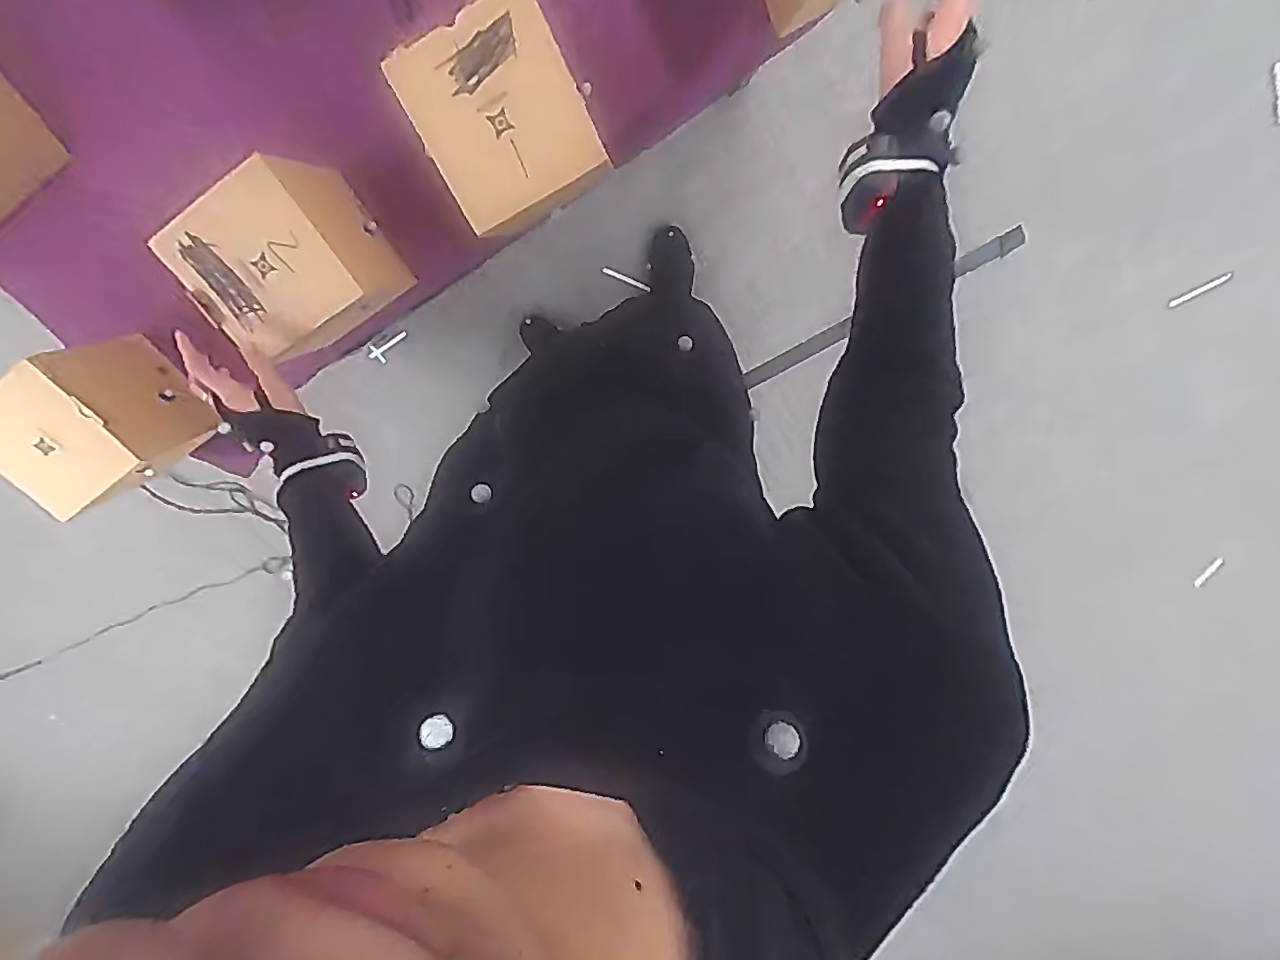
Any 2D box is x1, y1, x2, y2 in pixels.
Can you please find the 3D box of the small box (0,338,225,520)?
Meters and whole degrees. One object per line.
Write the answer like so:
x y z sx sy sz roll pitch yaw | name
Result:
-0.762 -0.079 0.776 0.179 0.176 0.168 -31 111 13 | small box

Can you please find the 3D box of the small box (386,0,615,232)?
-0.140 -0.404 0.618 0.168 0.176 0.179 -25 113 12 | small box

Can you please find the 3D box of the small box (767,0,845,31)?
0.199 -0.596 0.523 0.168 0.176 0.179 -23 113 12 | small box
